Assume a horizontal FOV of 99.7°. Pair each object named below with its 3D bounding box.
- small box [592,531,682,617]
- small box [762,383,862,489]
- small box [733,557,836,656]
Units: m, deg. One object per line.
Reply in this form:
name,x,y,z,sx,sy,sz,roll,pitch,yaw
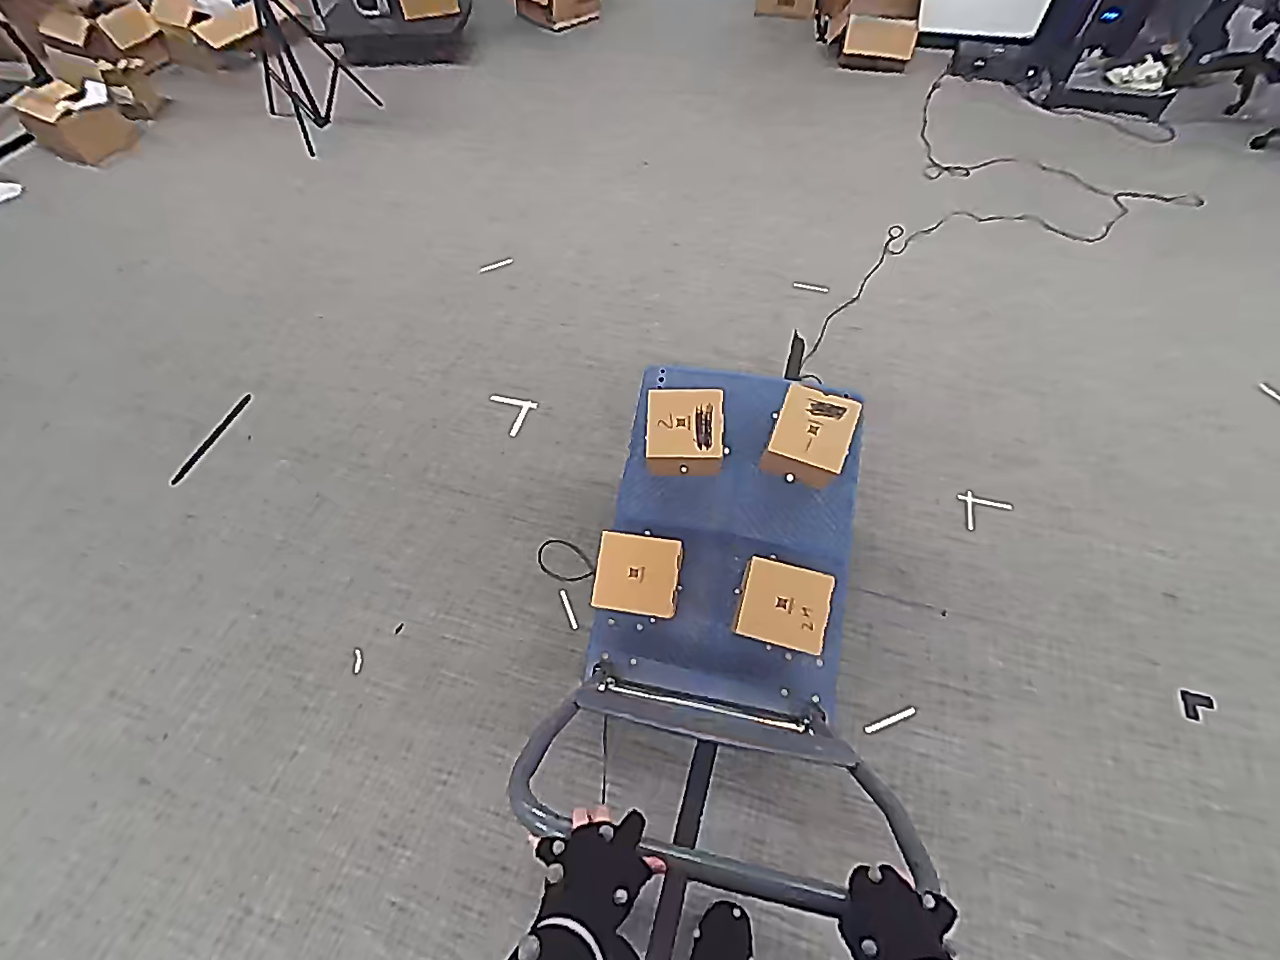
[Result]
small box,0.000,0.220,1.235,0.179,0.176,0.168,7,76,6
small box,0.398,-0.097,1.277,0.168,0.176,0.179,20,80,10
small box,0.309,0.278,1.190,0.179,0.176,0.168,14,78,9
